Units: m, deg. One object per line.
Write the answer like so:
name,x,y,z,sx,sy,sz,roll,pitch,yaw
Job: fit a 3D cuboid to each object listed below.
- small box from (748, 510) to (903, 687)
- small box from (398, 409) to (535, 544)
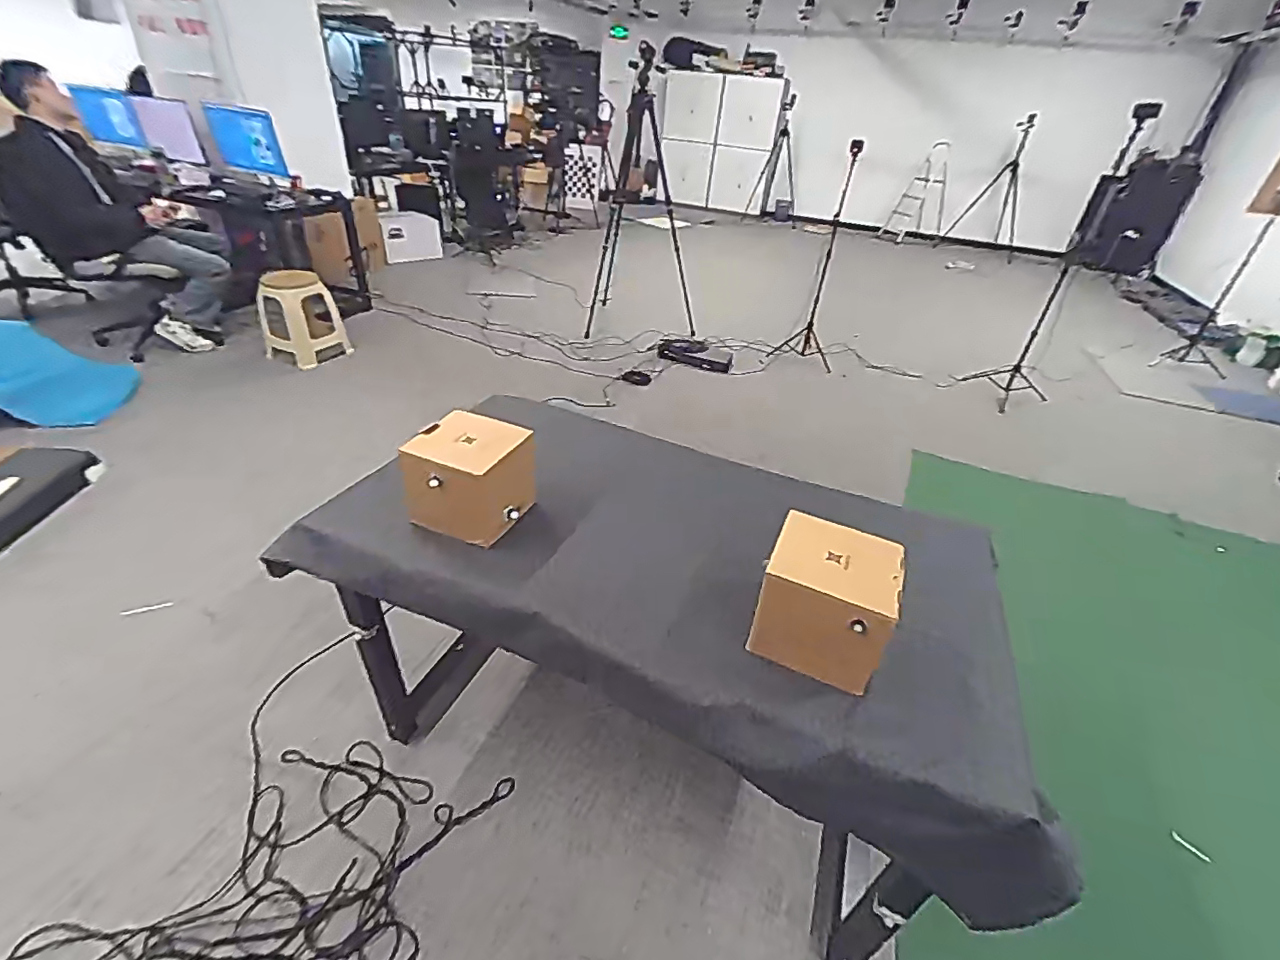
small box,0.275,0.177,0.817,0.179,0.176,0.168,18,37,18
small box,-0.311,-0.007,1.003,0.179,0.176,0.168,17,38,14
